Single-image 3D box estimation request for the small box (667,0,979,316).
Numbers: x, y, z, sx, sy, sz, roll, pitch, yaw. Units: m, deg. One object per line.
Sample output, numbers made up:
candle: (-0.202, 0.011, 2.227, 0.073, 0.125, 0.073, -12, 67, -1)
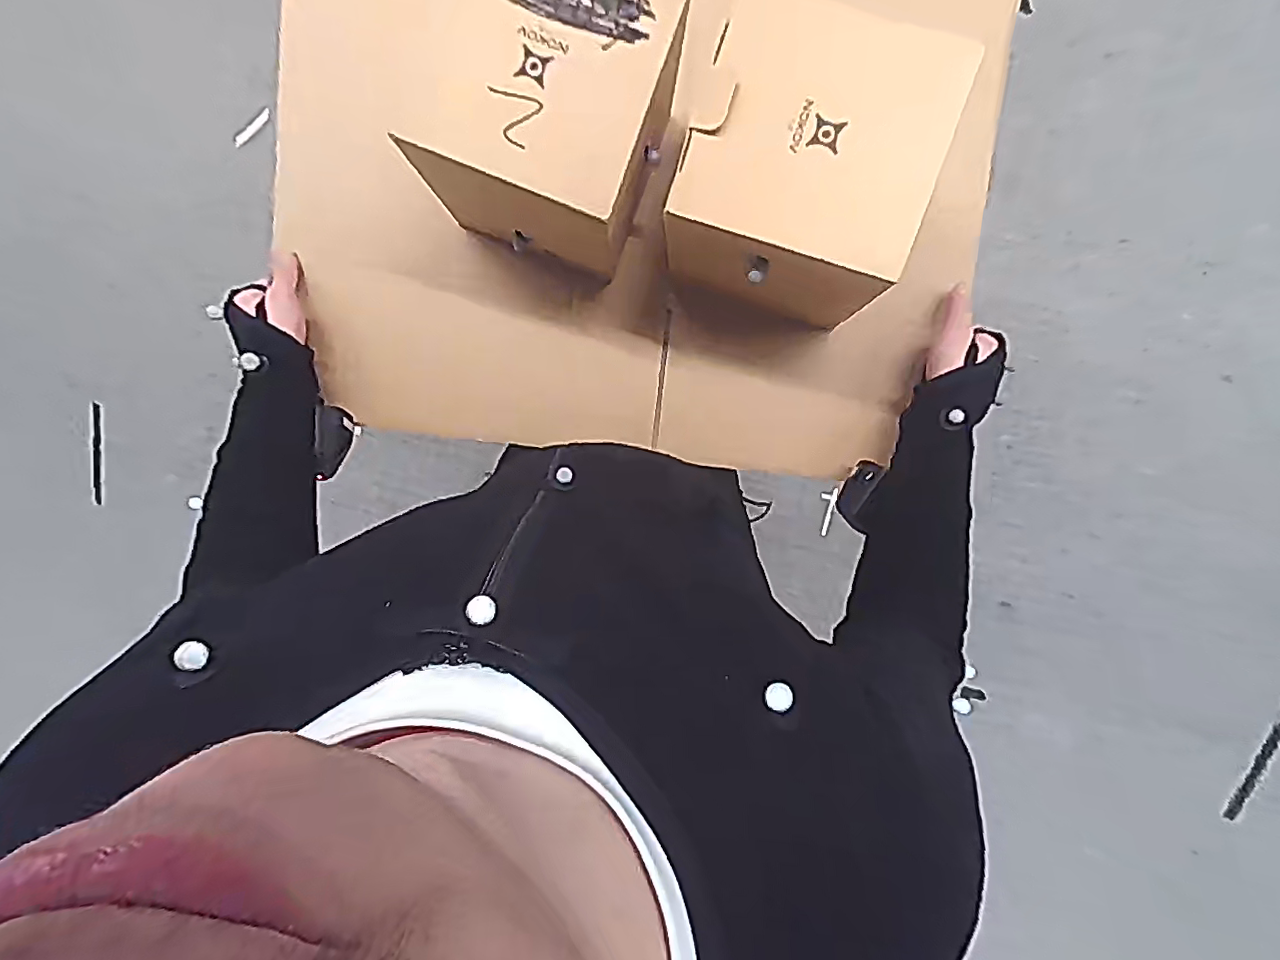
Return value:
small box: (0.134, -0.252, 0.463, 0.179, 0.176, 0.168, 19, 97, 4)
